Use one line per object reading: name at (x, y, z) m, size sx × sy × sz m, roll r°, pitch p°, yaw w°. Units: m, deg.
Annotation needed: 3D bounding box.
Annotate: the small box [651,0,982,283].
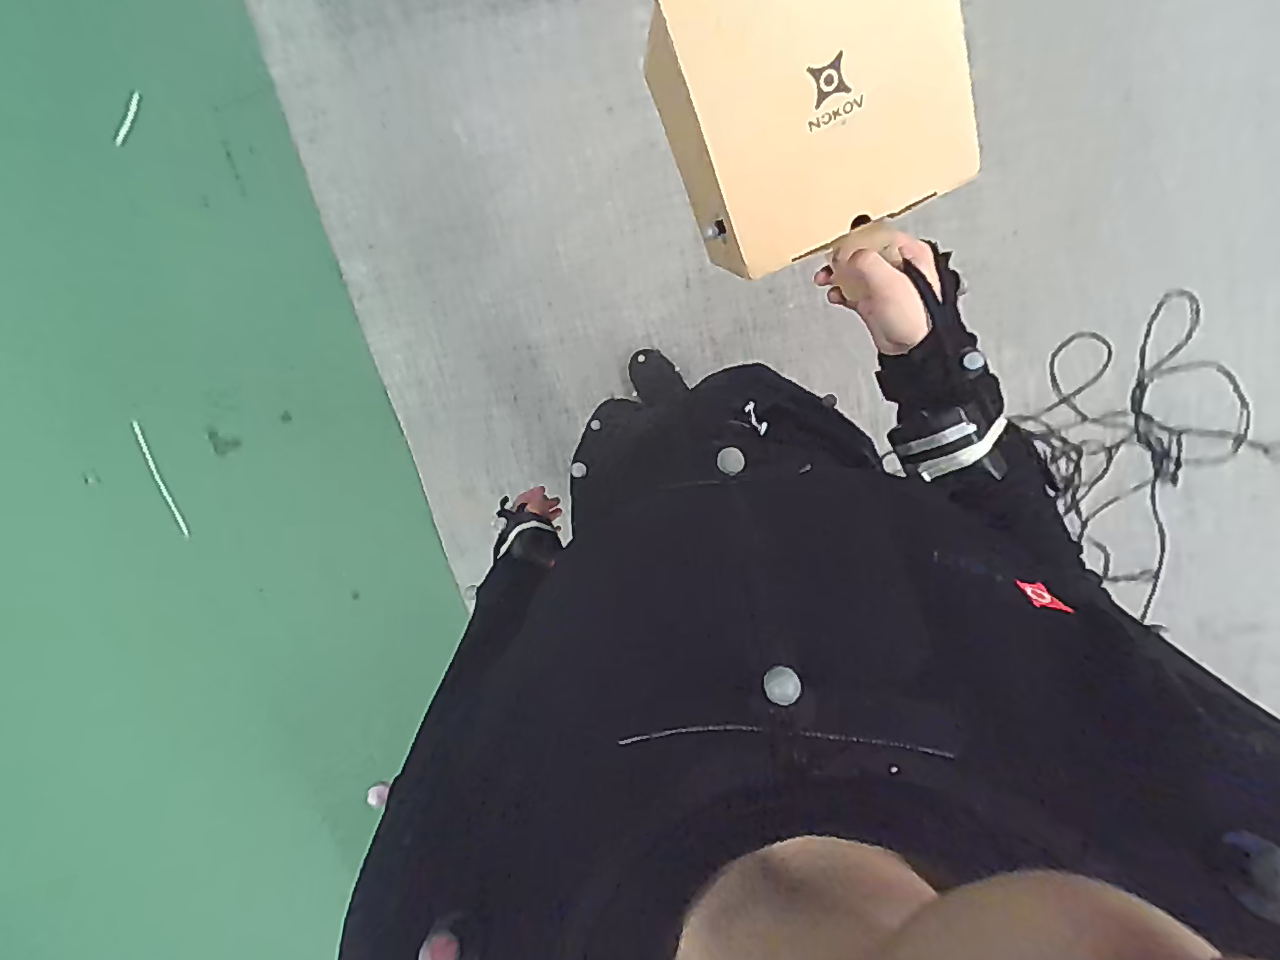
small box at (0.116, -0.271, 0.406) m, size 0.168 × 0.176 × 0.179 m, roll -23°, pitch 116°, yaw 7°
